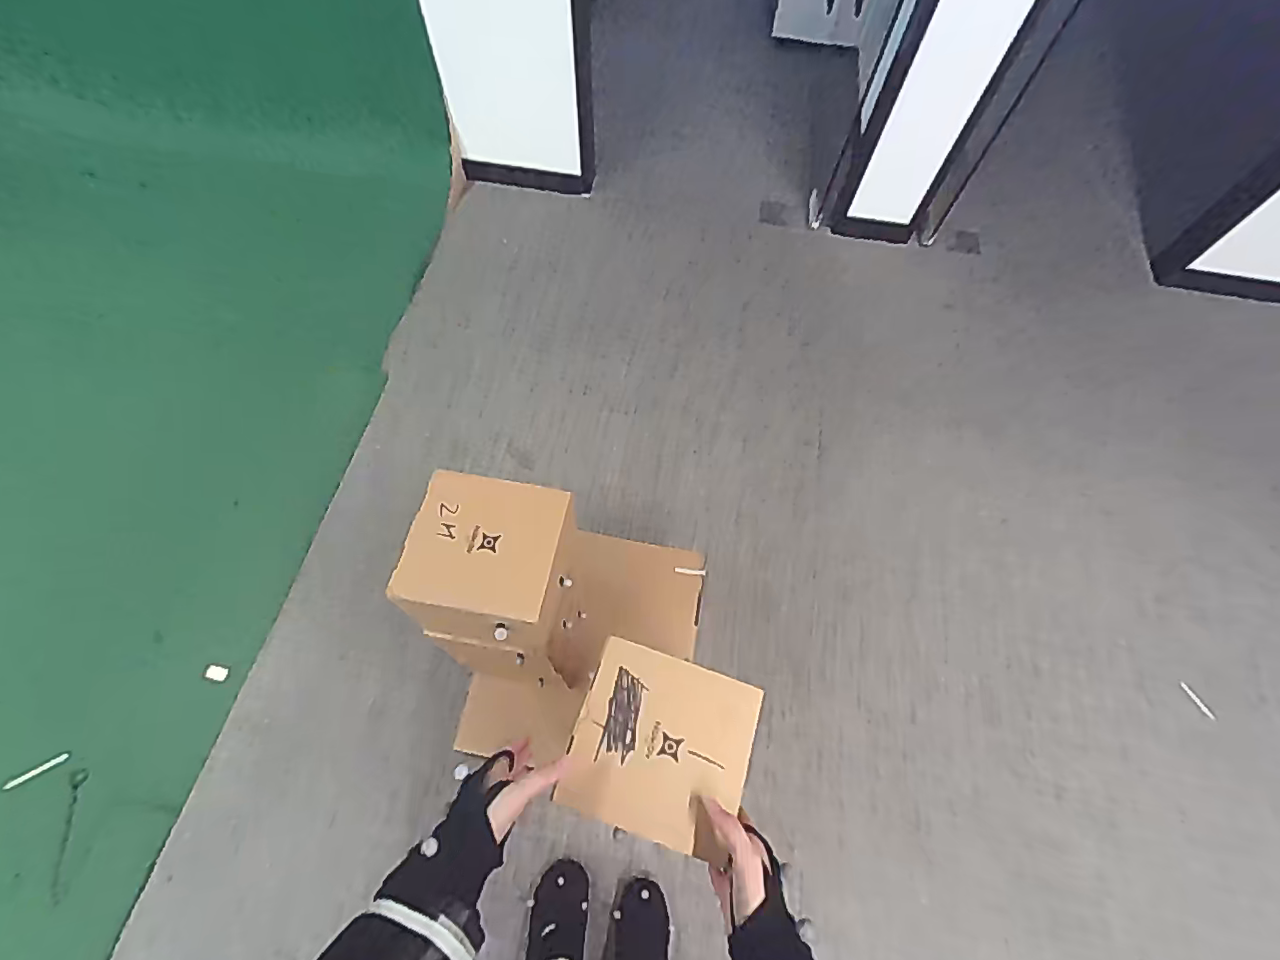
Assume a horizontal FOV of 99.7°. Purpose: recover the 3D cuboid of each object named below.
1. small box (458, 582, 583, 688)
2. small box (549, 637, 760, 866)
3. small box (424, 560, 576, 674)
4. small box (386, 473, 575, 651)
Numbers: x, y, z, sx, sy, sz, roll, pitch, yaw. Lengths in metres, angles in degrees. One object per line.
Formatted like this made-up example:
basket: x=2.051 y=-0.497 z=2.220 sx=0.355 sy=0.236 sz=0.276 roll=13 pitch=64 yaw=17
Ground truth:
small box: x=-0.205 y=0.276 z=0.987 sx=0.179 sy=0.176 sz=0.168 roll=8 pitch=61 yaw=2
small box: x=0.014 y=0.299 z=0.611 sx=0.179 sy=0.176 sz=0.168 roll=19 pitch=64 yaw=5
small box: x=-0.204 y=0.196 z=0.846 sx=0.179 sy=0.176 sz=0.168 roll=9 pitch=61 yaw=1
small box: x=-0.187 y=0.114 z=0.703 sx=0.179 sy=0.176 sz=0.168 roll=10 pitch=60 yaw=3
